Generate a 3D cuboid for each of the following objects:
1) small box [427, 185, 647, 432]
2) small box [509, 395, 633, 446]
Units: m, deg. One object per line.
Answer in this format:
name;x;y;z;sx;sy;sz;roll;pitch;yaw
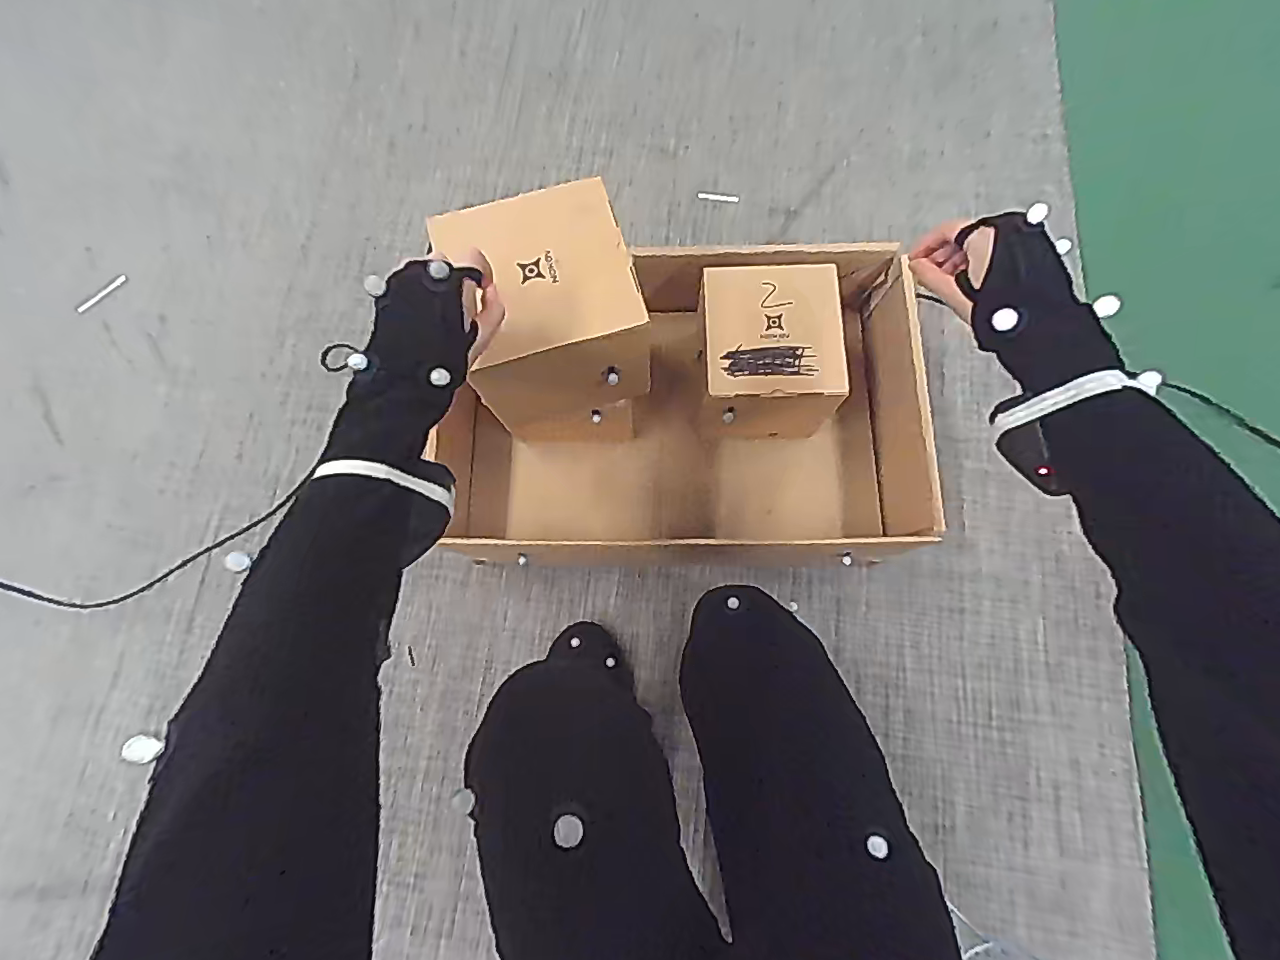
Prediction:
small box;-0.097;-0.168;0.576;0.179;0.176;0.168;-16;77;-2
small box;-0.100;-0.147;0.738;0.179;0.176;0.168;0;78;1
